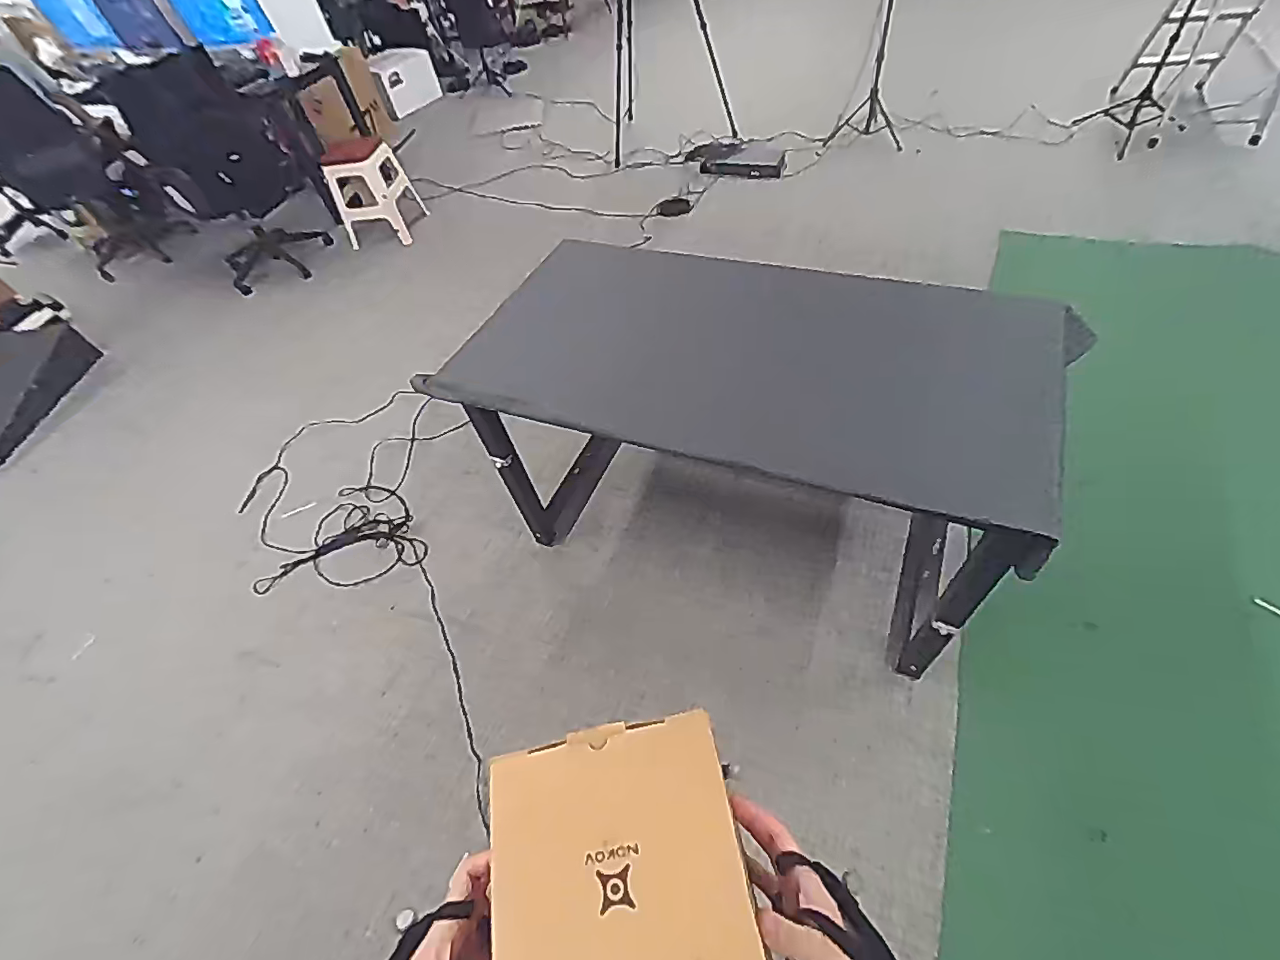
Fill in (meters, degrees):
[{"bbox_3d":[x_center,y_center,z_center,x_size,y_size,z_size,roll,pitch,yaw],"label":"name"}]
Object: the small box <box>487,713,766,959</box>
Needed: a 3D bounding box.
[{"bbox_3d":[-0.005,0.300,0.412,0.168,0.176,0.179,-14,54,2],"label":"small box"}]
